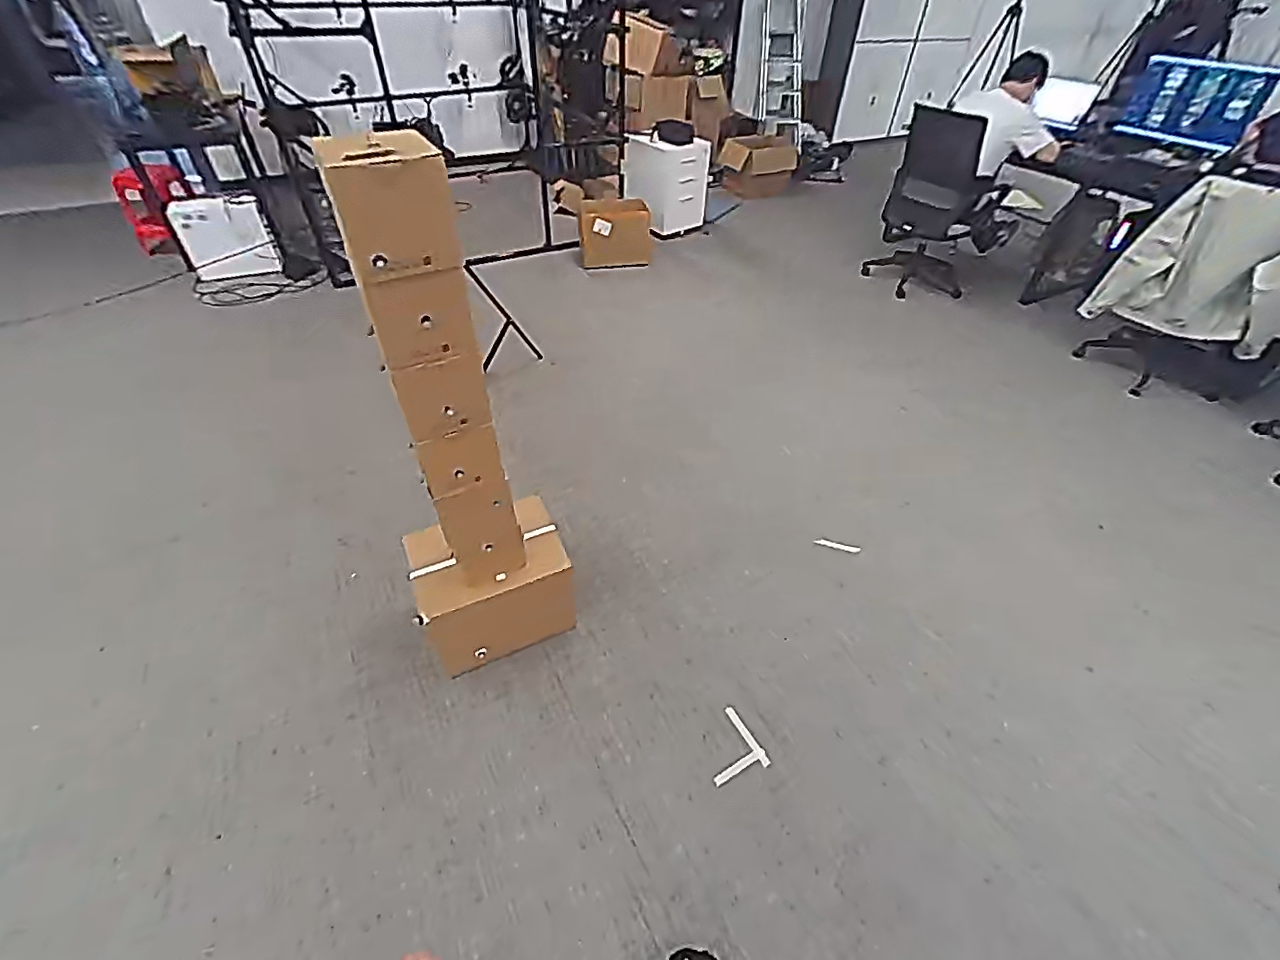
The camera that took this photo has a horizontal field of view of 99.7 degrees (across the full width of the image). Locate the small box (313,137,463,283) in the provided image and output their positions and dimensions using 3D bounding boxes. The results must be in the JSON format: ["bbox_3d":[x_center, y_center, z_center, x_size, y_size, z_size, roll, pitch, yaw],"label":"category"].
[{"bbox_3d":[-0.405,-0.437,0.883,0.168,0.176,0.179,-21,49,-22],"label":"small box"}]

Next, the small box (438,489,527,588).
[{"bbox_3d":[-0.417,0.159,1.446,0.179,0.176,0.168,-19,48,-22],"label":"small box"}]

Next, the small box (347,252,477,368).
[{"bbox_3d":[-0.417,-0.324,1.003,0.168,0.176,0.179,-21,49,-22],"label":"small box"}]

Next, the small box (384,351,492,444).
[{"bbox_3d":[-0.419,-0.202,1.113,0.168,0.176,0.179,-21,49,-21],"label":"small box"}]

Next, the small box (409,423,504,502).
[{"bbox_3d":[-0.421,-0.081,1.225,0.168,0.176,0.179,-19,48,-21],"label":"small box"}]
